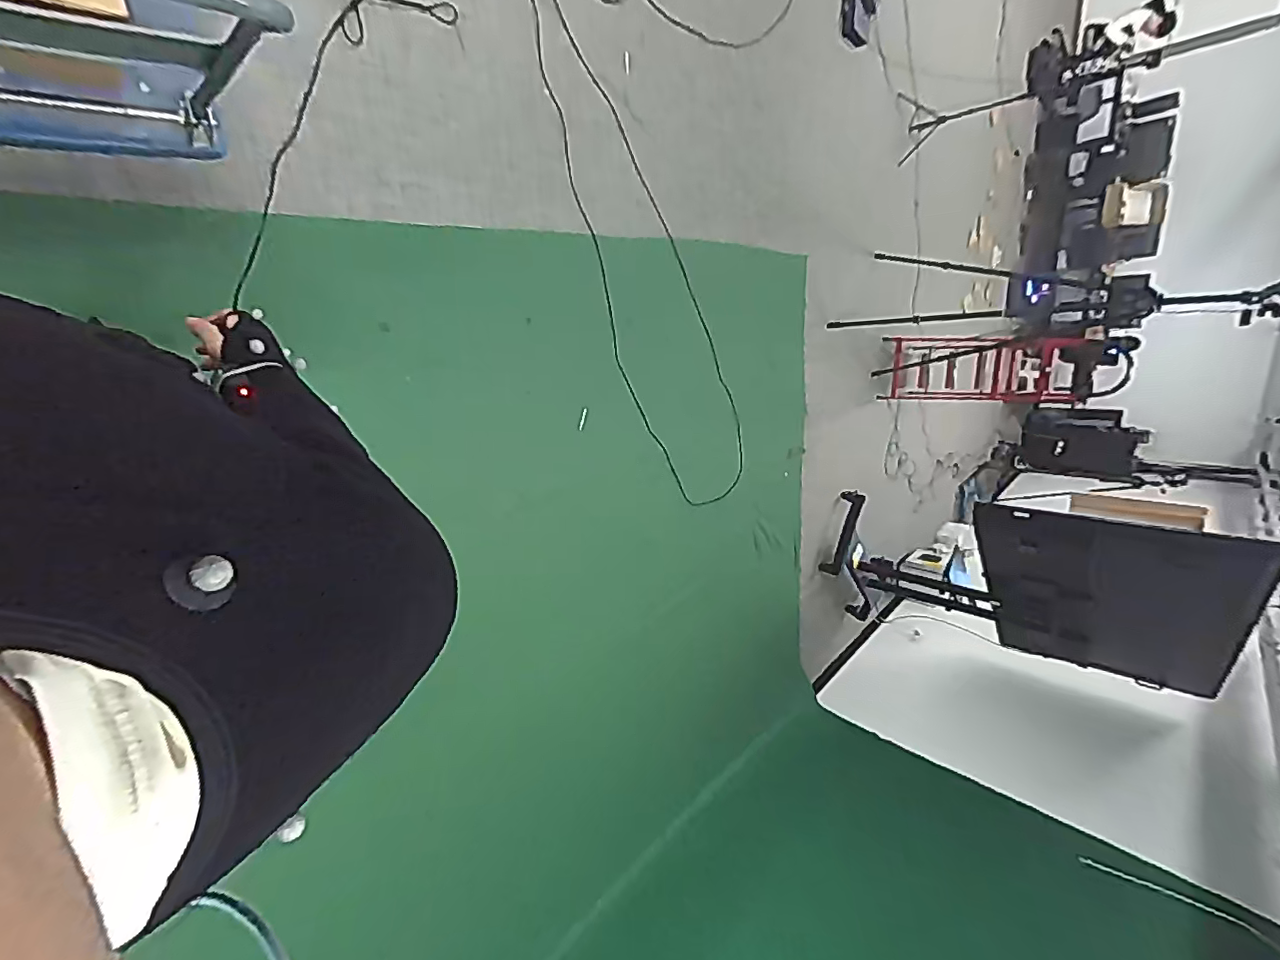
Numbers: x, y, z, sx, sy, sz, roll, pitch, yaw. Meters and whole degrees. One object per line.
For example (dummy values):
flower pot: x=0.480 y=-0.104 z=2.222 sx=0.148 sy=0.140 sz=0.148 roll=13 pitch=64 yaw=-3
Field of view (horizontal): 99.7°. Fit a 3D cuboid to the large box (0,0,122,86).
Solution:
large box: x=-1.002 y=-0.859 z=0.755 sx=0.320 sy=0.320 sz=0.408 roll=-21 pitch=112 yaw=-42
